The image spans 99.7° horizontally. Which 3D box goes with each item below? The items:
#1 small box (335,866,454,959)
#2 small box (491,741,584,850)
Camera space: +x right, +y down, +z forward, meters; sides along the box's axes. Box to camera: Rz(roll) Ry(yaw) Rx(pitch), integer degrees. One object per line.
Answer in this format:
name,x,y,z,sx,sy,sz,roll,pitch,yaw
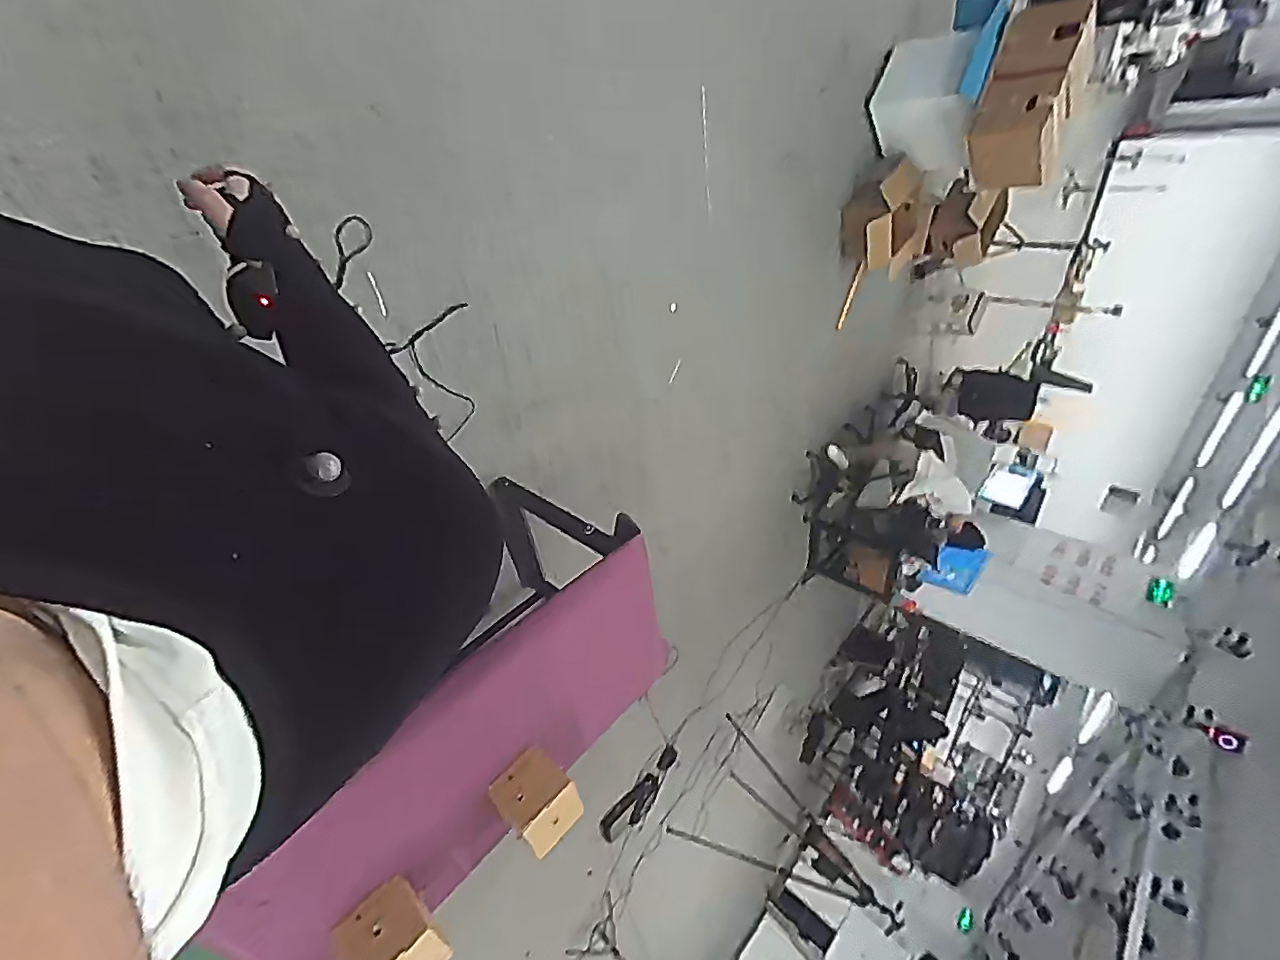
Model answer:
small box,-0.569,1.047,1.251,0.168,0.176,0.179,-35,132,-33
small box,-0.283,0.854,1.483,0.168,0.176,0.179,-35,133,-32
